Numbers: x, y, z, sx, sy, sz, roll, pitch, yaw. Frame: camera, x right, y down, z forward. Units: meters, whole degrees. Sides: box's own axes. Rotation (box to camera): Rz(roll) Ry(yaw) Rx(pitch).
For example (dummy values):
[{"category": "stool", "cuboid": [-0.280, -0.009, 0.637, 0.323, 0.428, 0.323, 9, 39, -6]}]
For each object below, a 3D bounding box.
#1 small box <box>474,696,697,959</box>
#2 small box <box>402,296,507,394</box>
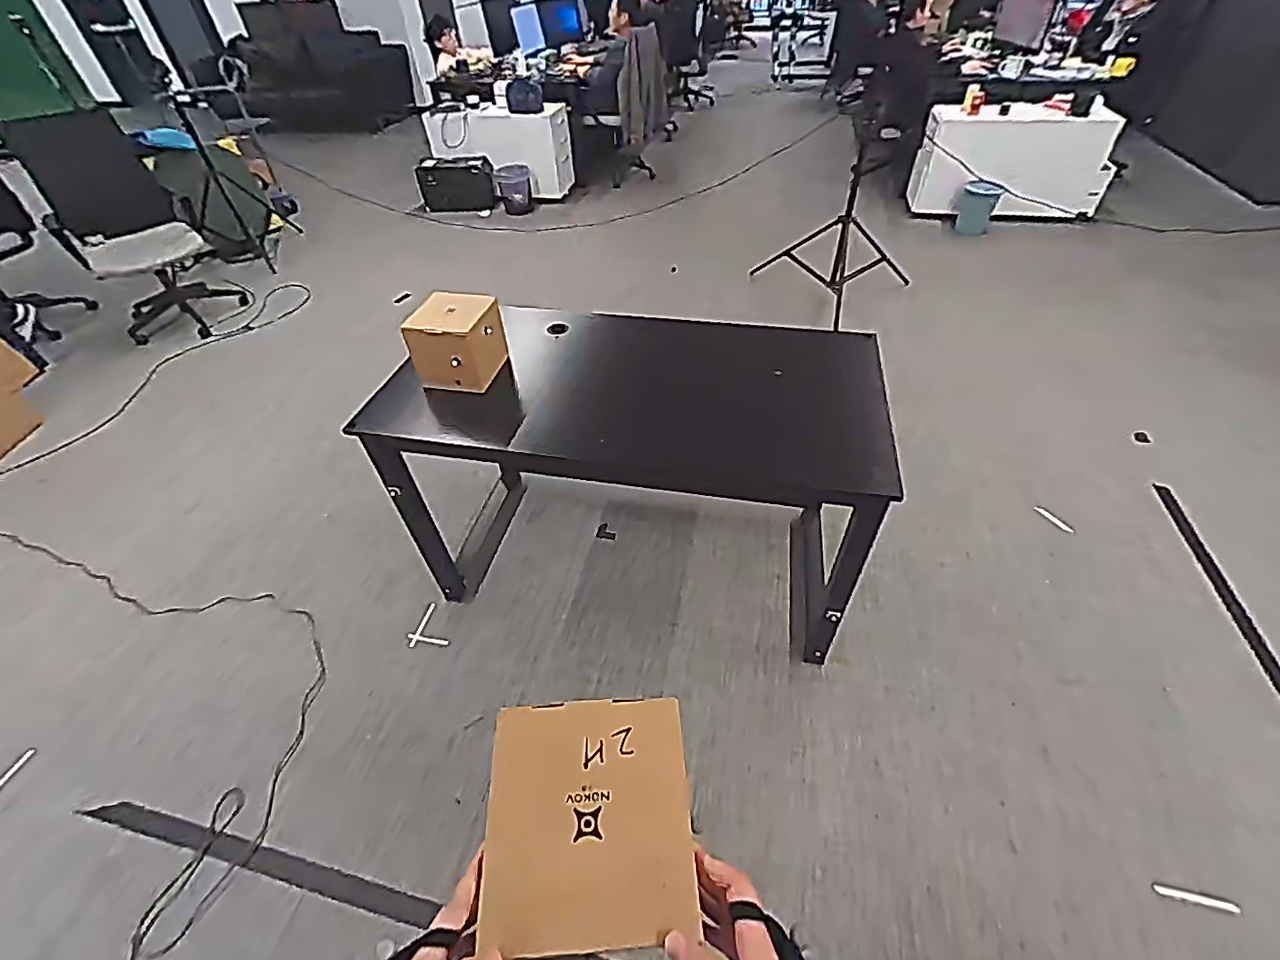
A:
[{"category": "small box", "cuboid": [-0.043, 0.321, 0.501, 0.168, 0.176, 0.179, -3, 49, -3]}, {"category": "small box", "cuboid": [-0.442, -0.330, 1.324, 0.168, 0.176, 0.179, 8, 45, 9]}]
